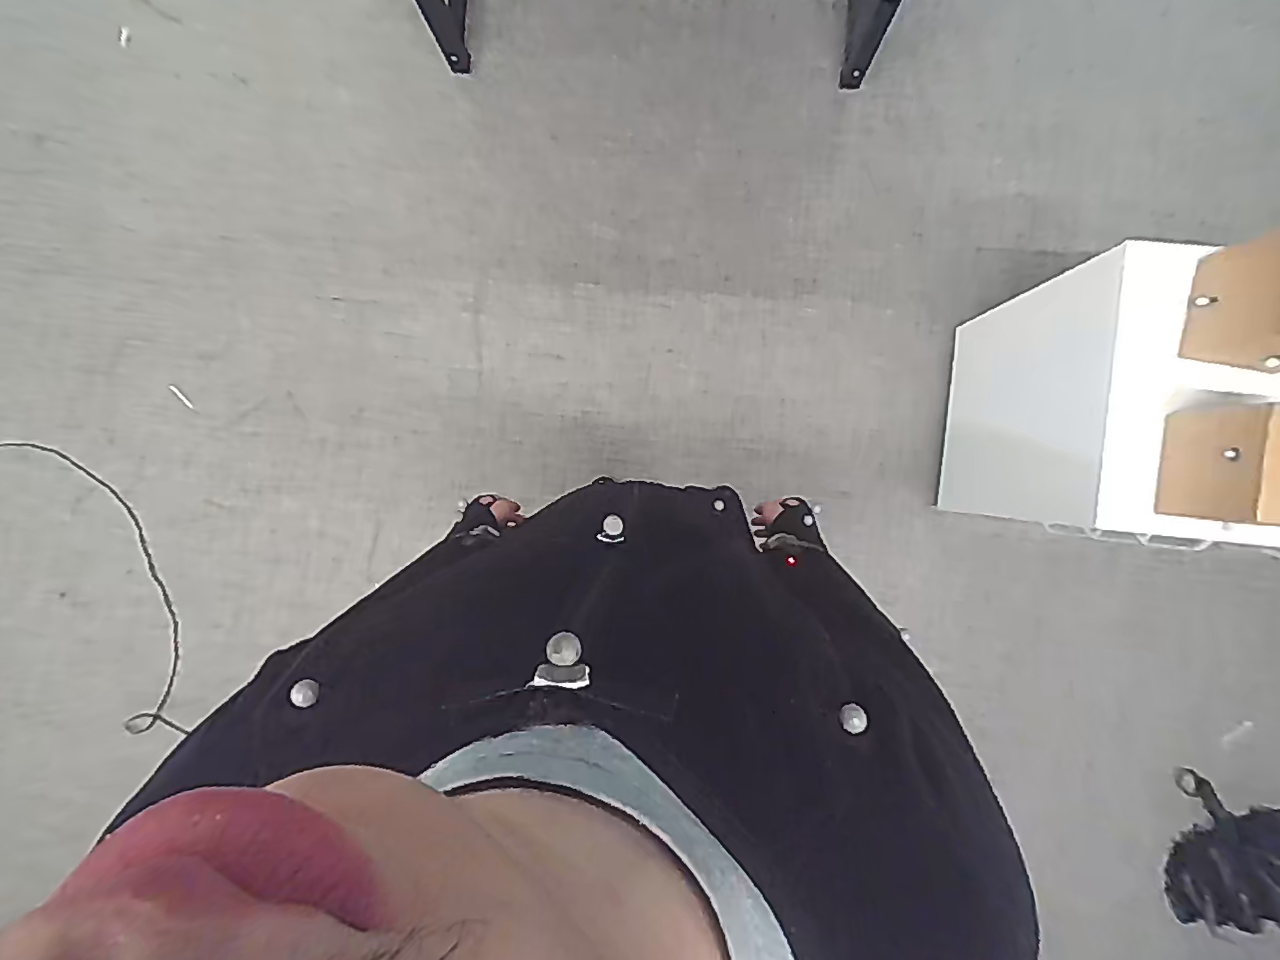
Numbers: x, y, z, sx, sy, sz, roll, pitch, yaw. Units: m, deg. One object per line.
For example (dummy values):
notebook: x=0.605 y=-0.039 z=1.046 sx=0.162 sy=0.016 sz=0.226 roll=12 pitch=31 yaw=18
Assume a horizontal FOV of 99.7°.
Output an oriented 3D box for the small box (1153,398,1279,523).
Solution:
small box: x=0.982 y=-0.025 z=0.867 sx=0.168 sy=0.176 sz=0.179 roll=5 pitch=90 yaw=1
